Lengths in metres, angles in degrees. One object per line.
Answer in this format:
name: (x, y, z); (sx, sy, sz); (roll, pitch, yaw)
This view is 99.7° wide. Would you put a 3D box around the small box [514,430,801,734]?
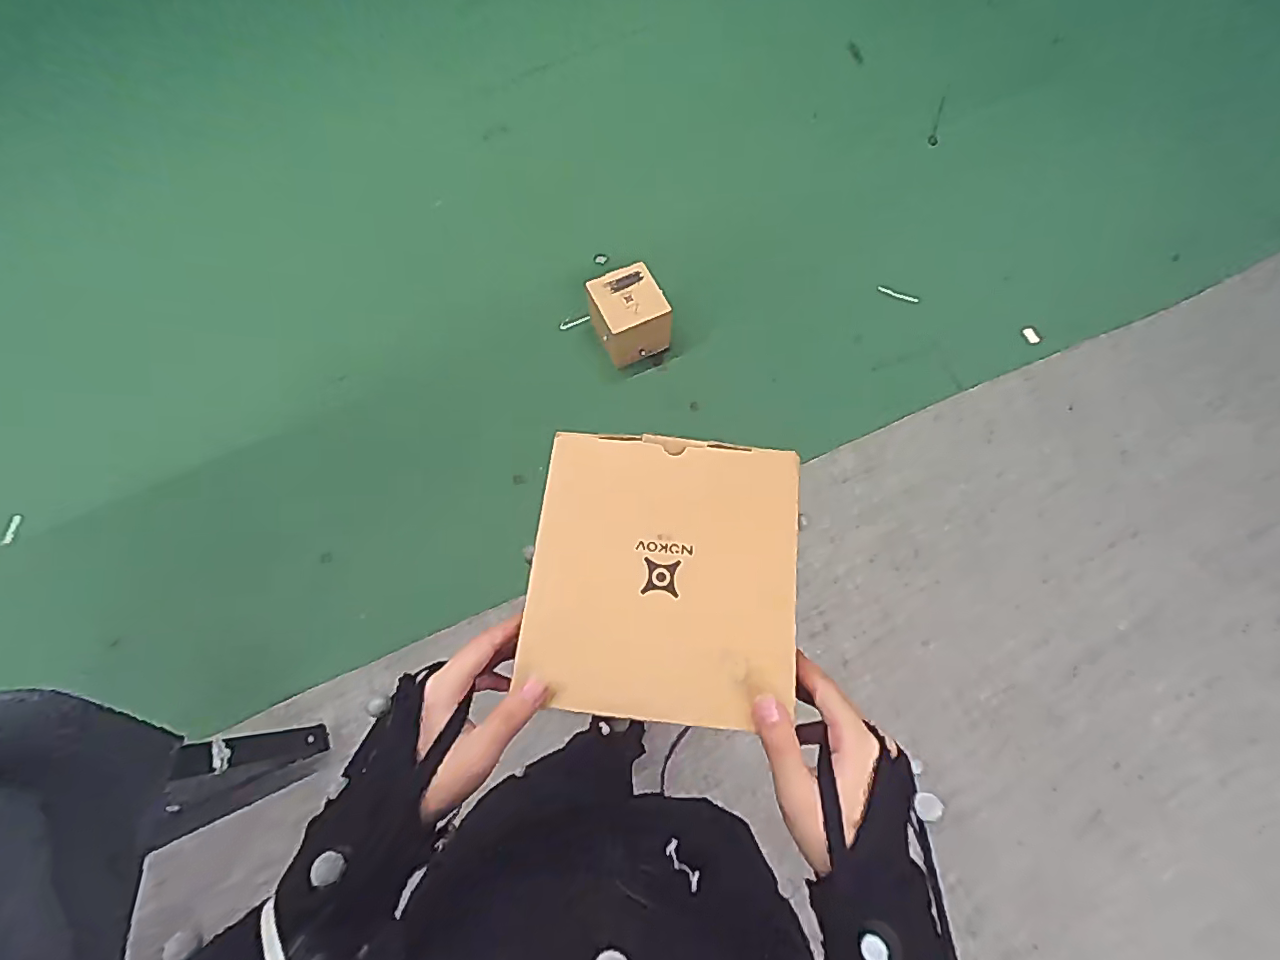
small box: (0.019, 0.080, 0.409); (0.168, 0.176, 0.179); (5, 70, 4)
